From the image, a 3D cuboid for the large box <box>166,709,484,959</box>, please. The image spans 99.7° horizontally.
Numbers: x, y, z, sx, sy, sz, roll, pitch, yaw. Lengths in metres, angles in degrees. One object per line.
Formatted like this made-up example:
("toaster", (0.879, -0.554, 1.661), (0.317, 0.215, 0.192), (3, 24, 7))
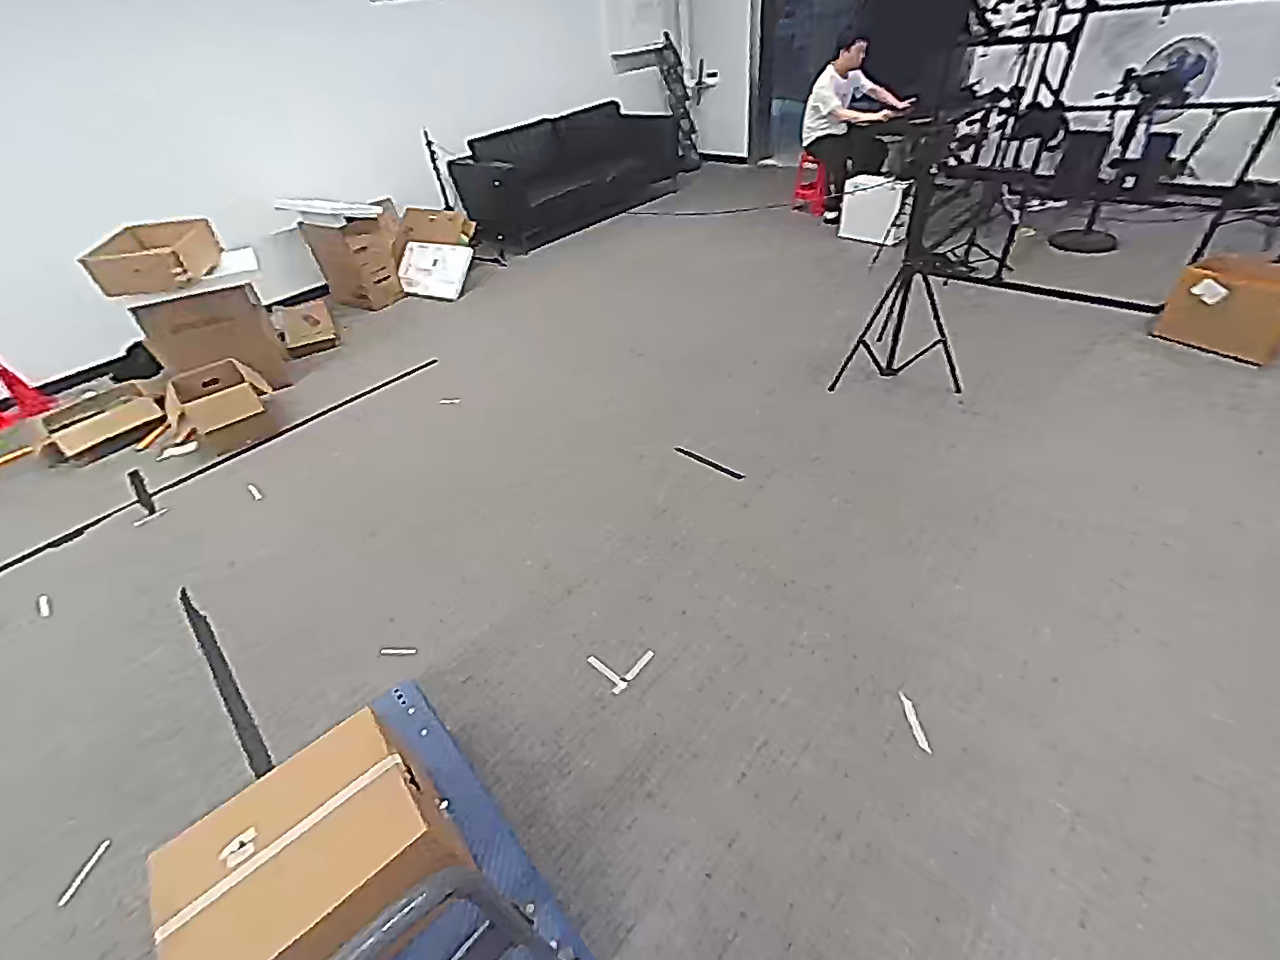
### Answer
("large box", (-0.592, 0.758, 1.066), (0.408, 0.320, 0.320), (-34, 46, -25))
